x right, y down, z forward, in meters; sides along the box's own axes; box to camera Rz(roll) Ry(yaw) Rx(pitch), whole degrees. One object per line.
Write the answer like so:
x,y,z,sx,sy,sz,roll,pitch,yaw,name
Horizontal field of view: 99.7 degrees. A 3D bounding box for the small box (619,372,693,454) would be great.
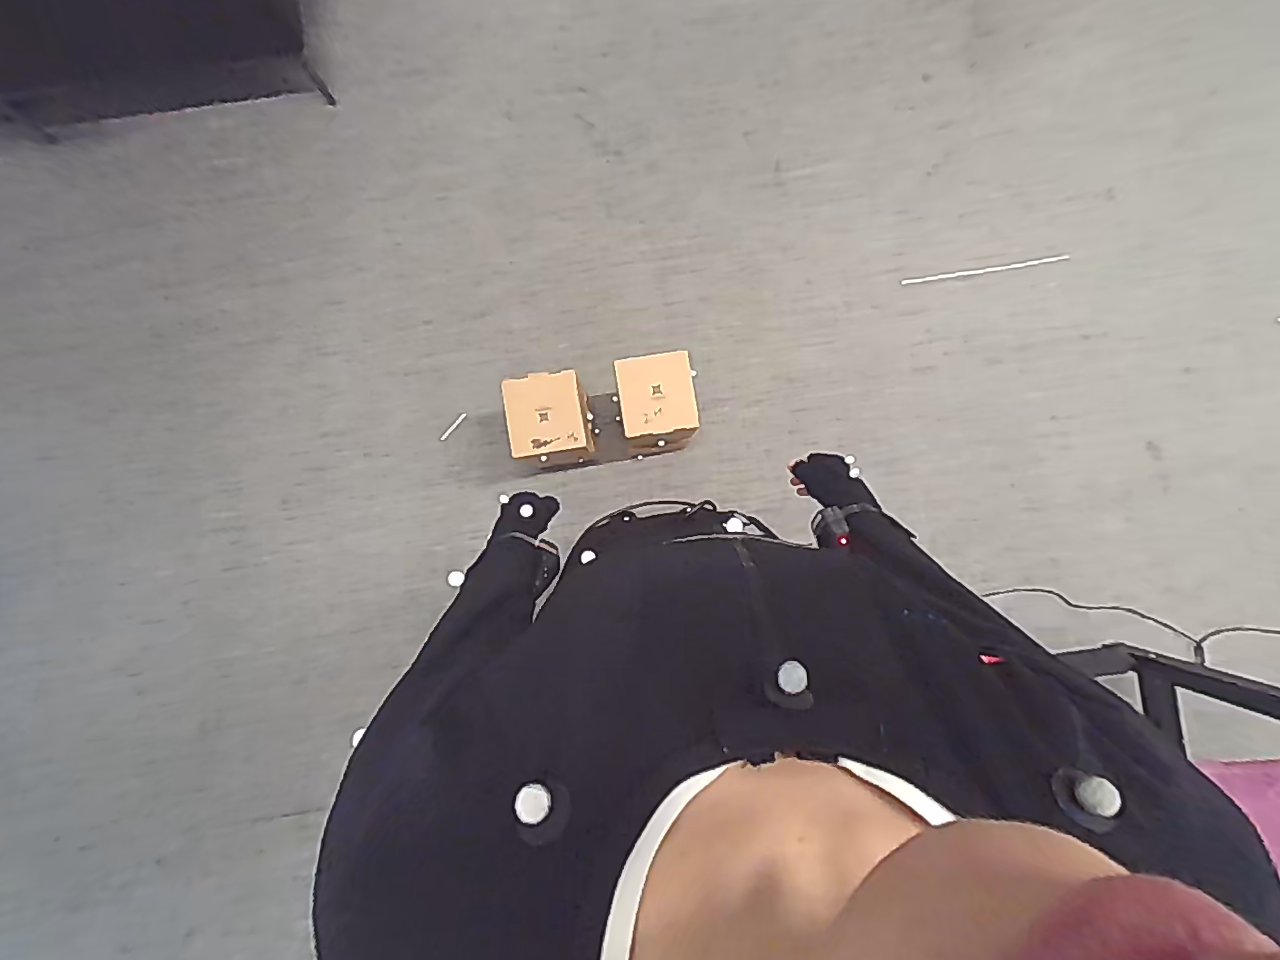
0.040,-0.168,1.419,0.168,0.176,0.179,-9,86,-1,small box
